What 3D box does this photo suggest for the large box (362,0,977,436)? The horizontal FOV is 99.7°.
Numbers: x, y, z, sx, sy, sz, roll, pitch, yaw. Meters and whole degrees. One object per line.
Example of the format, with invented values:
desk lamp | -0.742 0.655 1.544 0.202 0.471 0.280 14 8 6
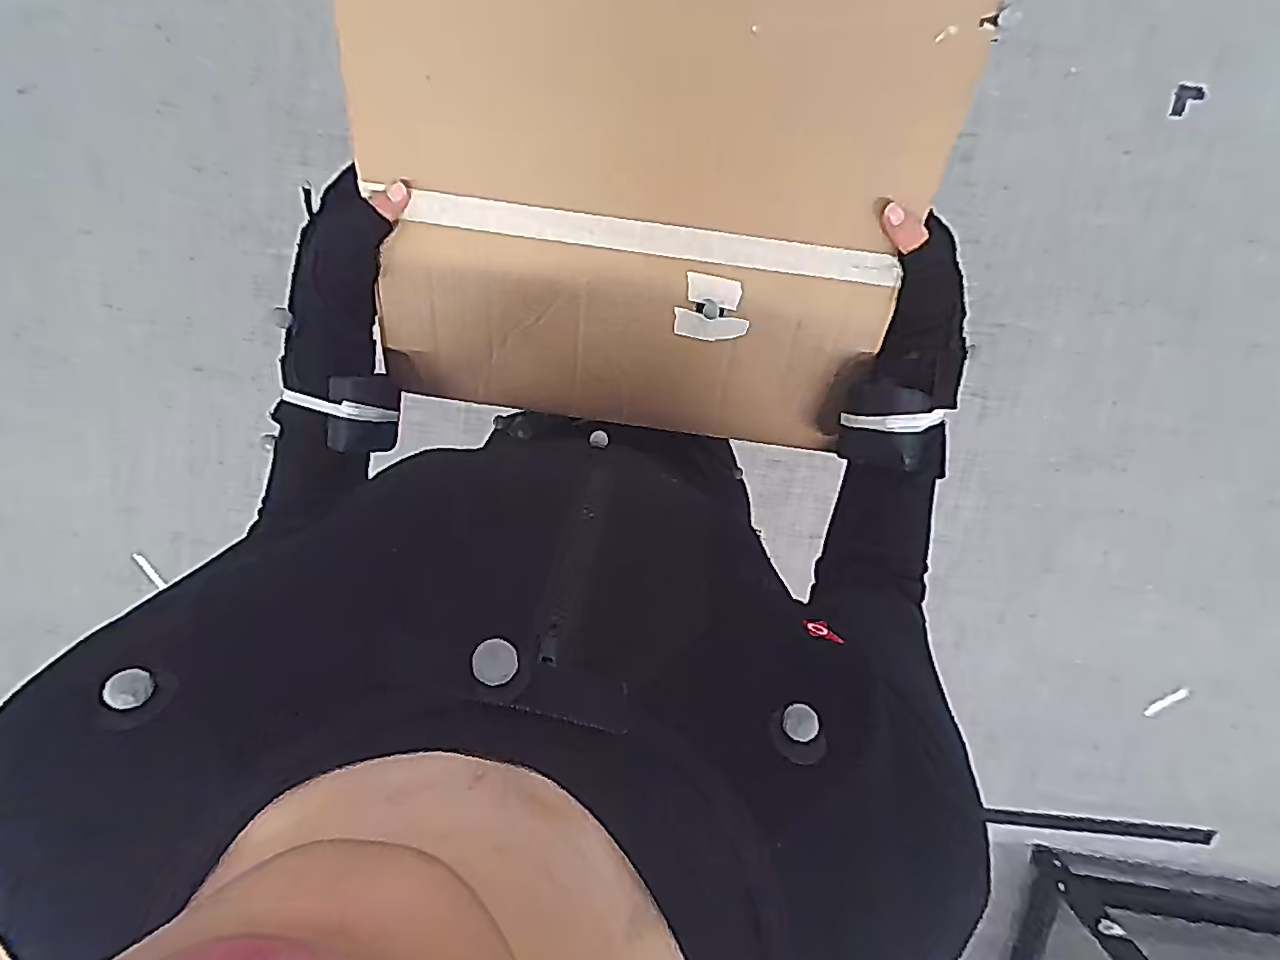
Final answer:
large box | 0.009 -0.270 0.543 0.408 0.320 0.320 8 123 -1
